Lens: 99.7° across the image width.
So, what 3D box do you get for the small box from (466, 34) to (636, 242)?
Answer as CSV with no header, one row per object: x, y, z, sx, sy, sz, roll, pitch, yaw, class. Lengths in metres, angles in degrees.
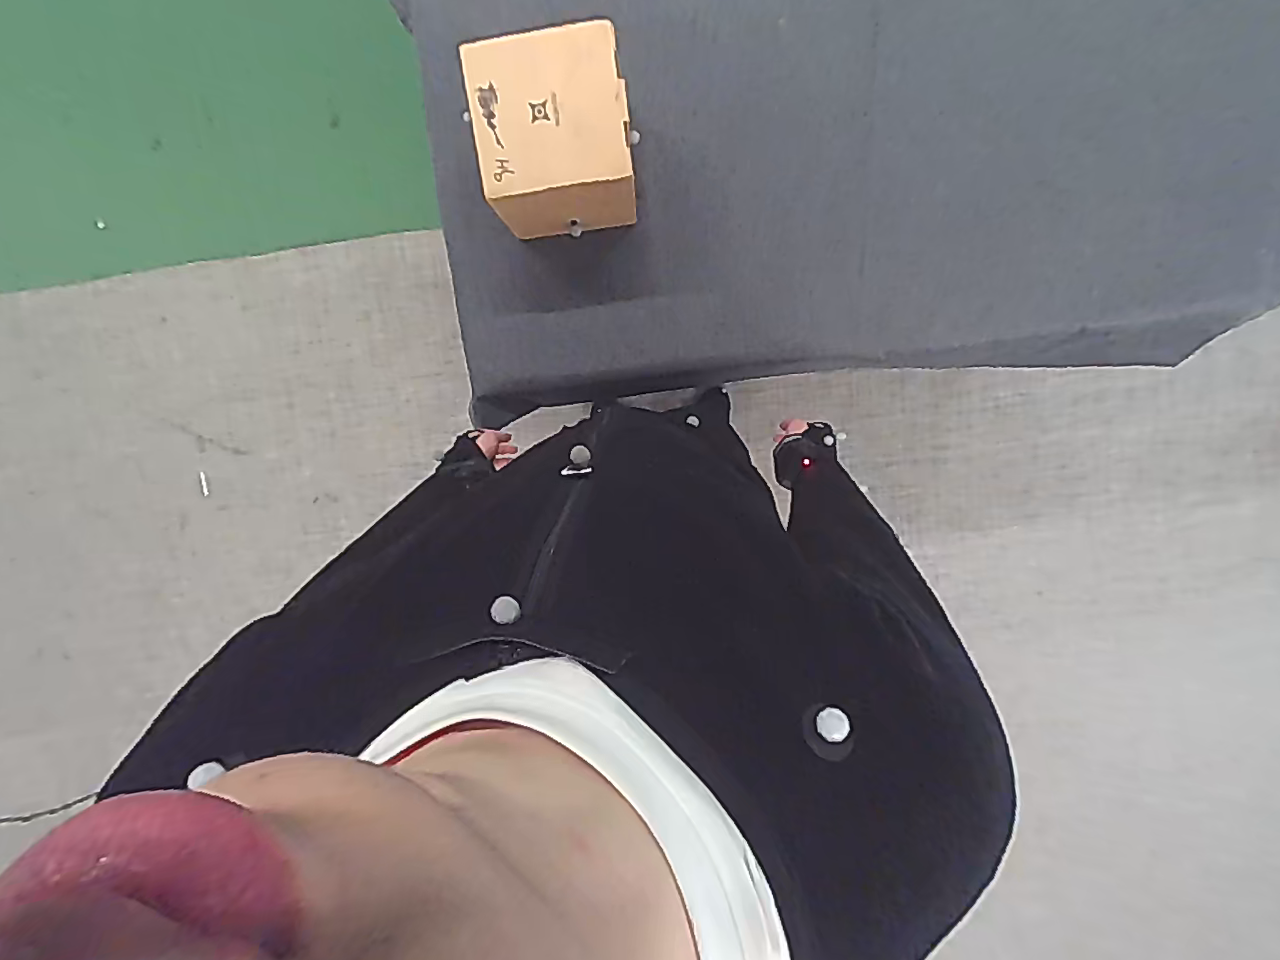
-0.102,-0.423,0.697,0.179,0.176,0.168,-8,98,1,small box
